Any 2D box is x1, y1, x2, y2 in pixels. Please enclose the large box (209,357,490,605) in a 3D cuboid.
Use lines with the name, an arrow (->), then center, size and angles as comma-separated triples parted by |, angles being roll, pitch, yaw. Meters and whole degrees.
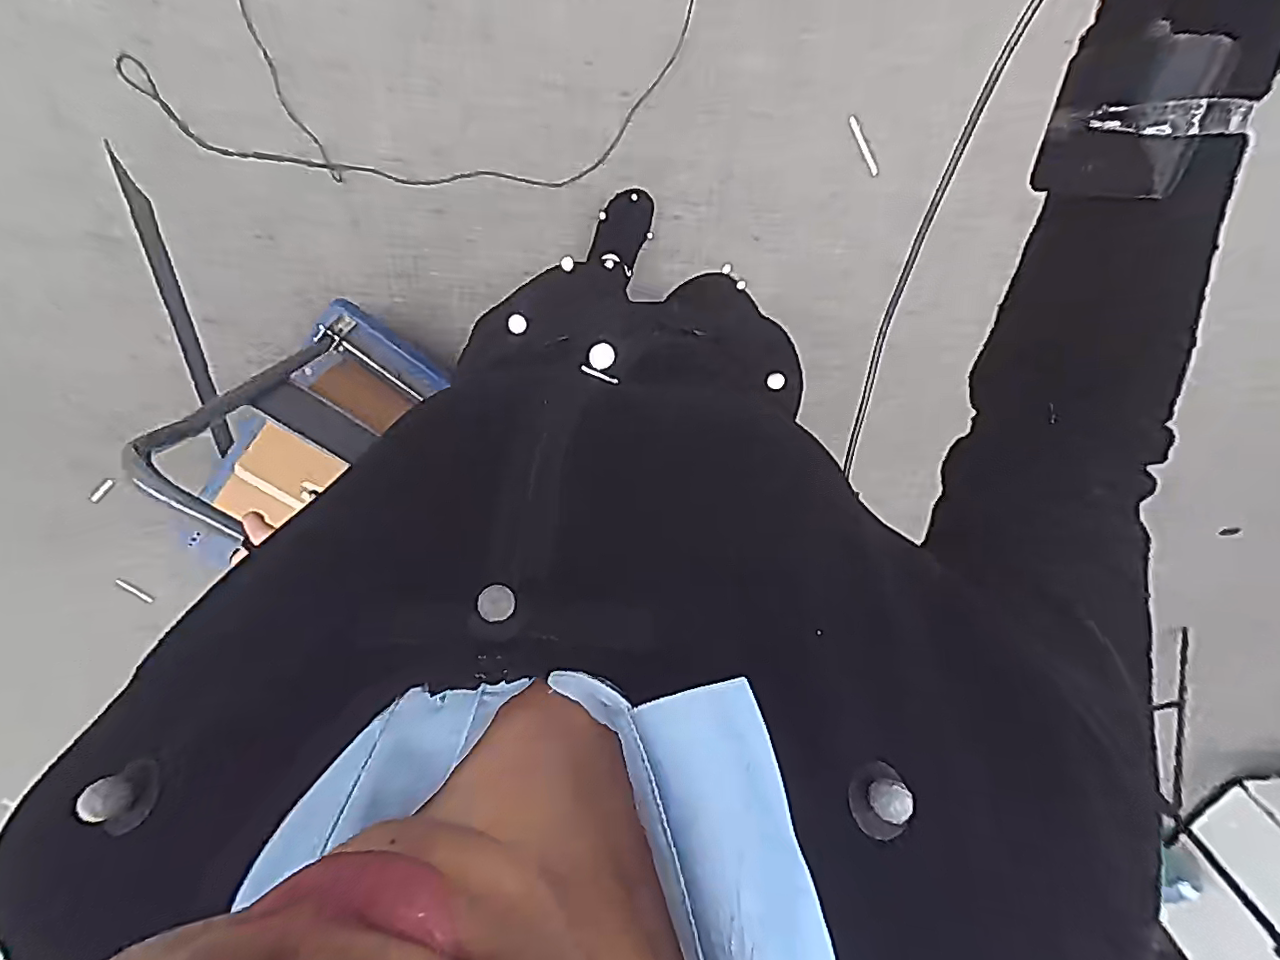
large box -> -0.616, 0.001, 1.220 | 0.408, 0.320, 0.320 | 39, 111, -23
